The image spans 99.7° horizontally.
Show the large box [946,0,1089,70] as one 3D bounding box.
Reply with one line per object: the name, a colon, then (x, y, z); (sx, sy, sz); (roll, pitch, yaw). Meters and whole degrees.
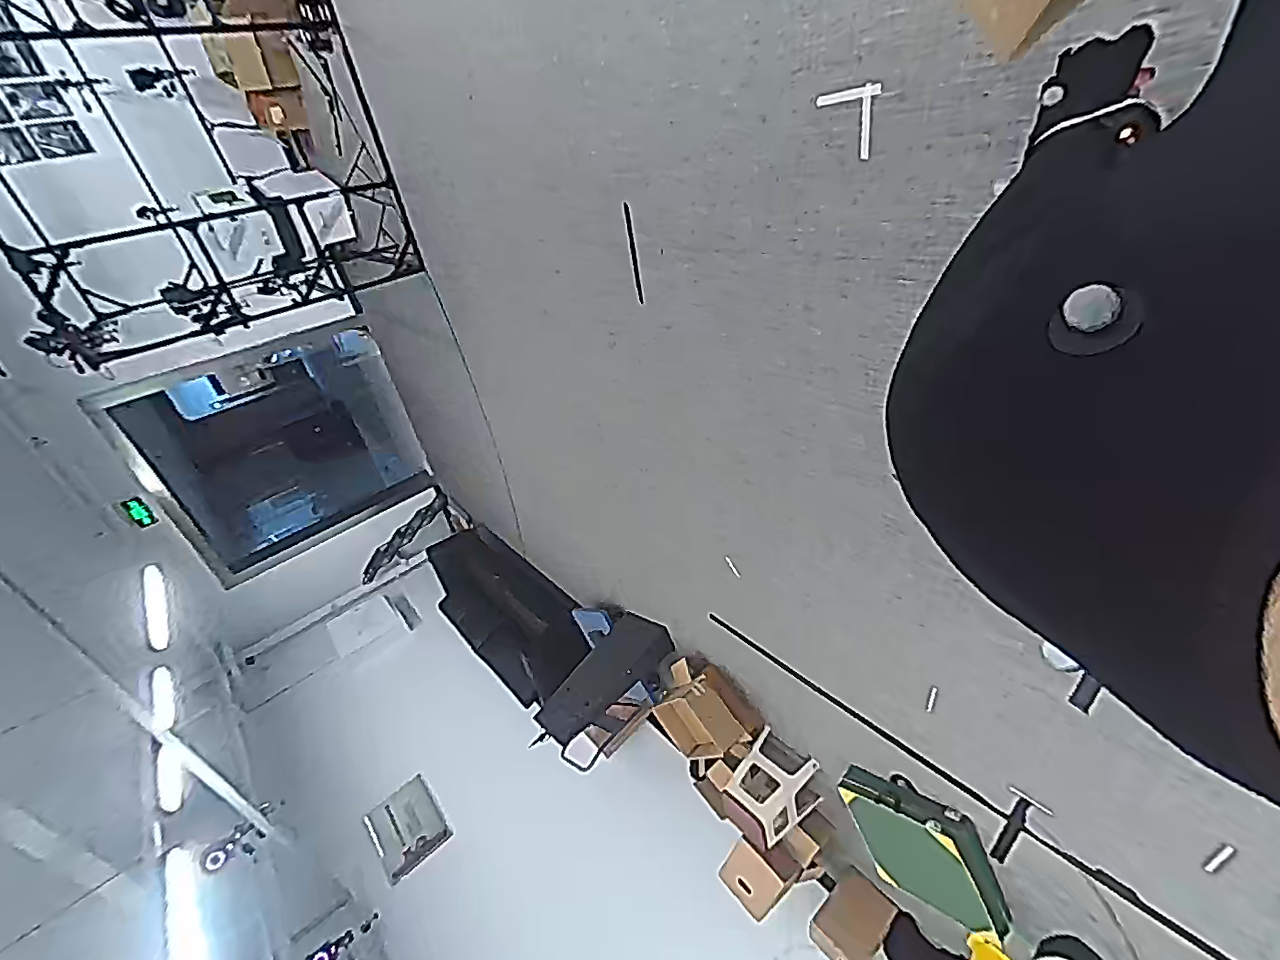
large box: (0.353, -0.602, 0.375); (0.320, 0.408, 0.320); (-39, 93, 29)
